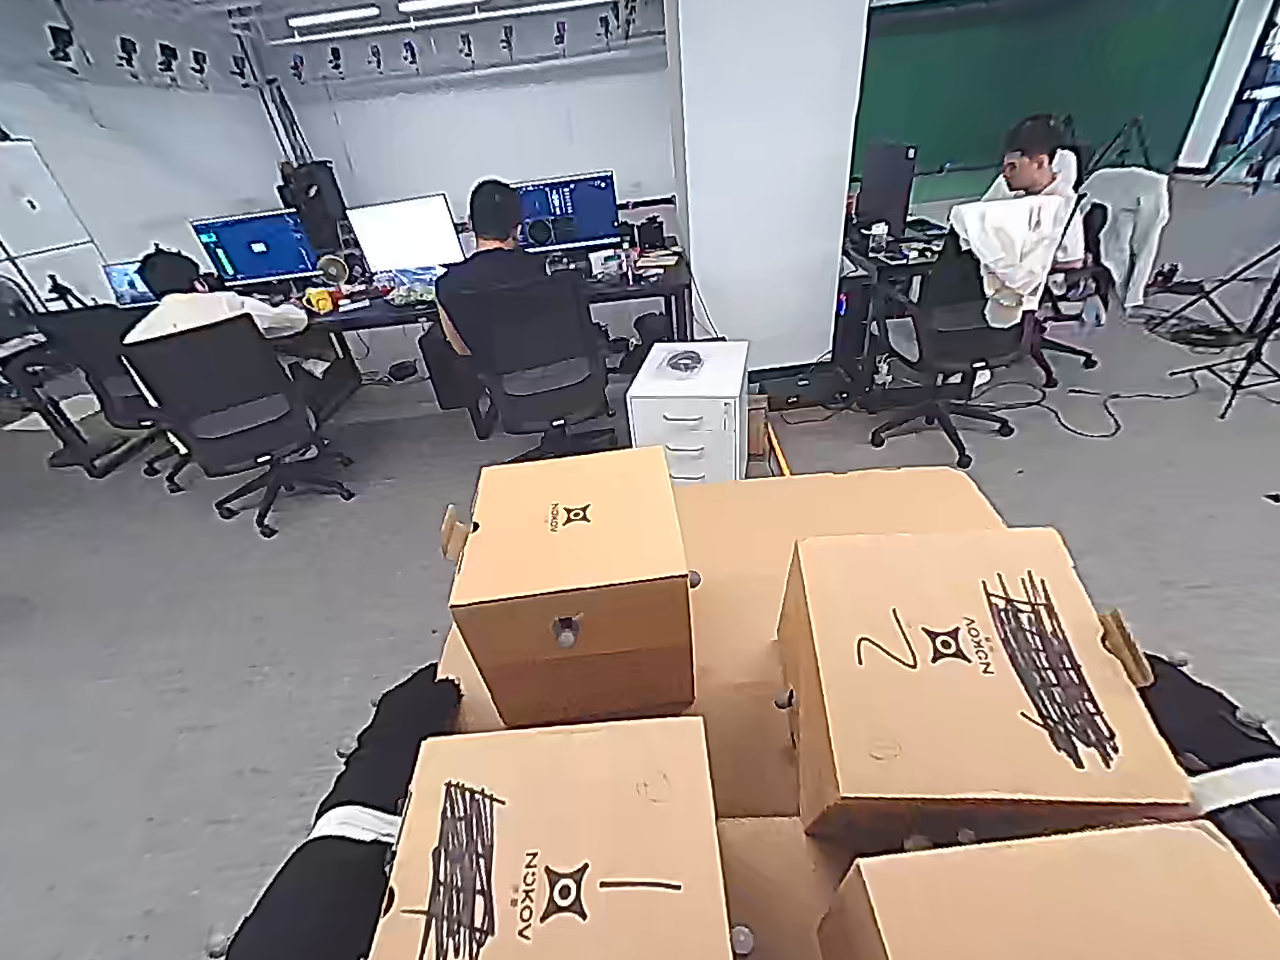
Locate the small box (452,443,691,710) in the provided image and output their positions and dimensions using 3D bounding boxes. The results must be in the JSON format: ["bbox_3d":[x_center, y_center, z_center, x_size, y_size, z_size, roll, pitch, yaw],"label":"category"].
[{"bbox_3d":[-0.049,0.089,0.504,0.179,0.176,0.168,-8,38,1],"label":"small box"}]
